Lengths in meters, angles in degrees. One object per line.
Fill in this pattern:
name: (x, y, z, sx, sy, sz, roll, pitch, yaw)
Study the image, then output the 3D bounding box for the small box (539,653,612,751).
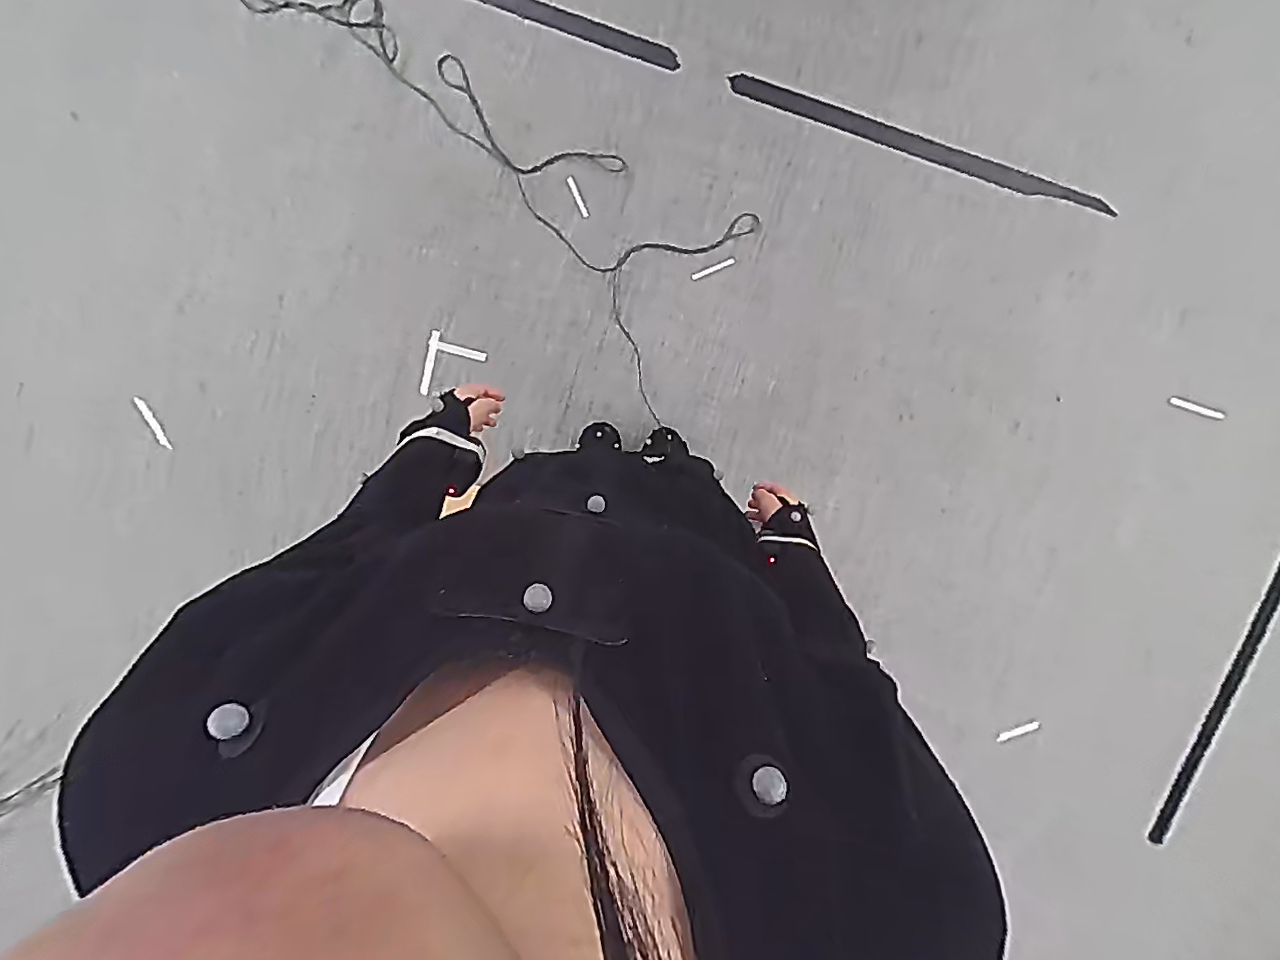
small box: (-0.170, 0.598, 1.471, 0.168, 0.176, 0.179, 8, 97, -2)
